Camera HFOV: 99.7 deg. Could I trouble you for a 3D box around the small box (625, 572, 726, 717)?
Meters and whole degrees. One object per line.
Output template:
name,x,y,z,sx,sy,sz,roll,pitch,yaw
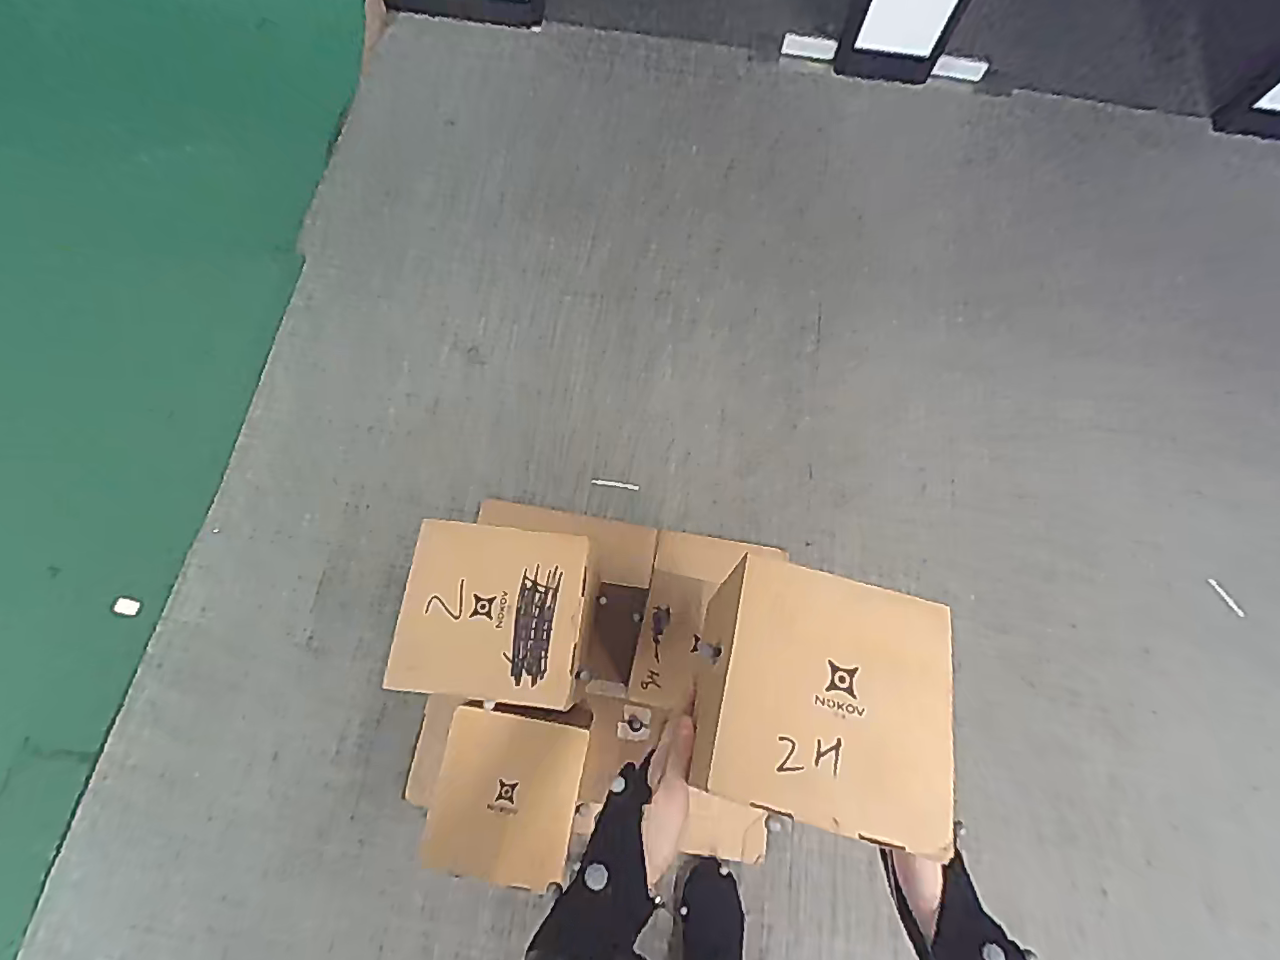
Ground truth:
small box,0.083,0.237,0.752,0.179,0.176,0.168,13,72,3

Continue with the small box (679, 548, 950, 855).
small box,0.137,0.185,0.464,0.168,0.176,0.179,15,63,3

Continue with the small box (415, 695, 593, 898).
small box,-0.158,0.385,0.694,0.168,0.176,0.179,11,73,0
